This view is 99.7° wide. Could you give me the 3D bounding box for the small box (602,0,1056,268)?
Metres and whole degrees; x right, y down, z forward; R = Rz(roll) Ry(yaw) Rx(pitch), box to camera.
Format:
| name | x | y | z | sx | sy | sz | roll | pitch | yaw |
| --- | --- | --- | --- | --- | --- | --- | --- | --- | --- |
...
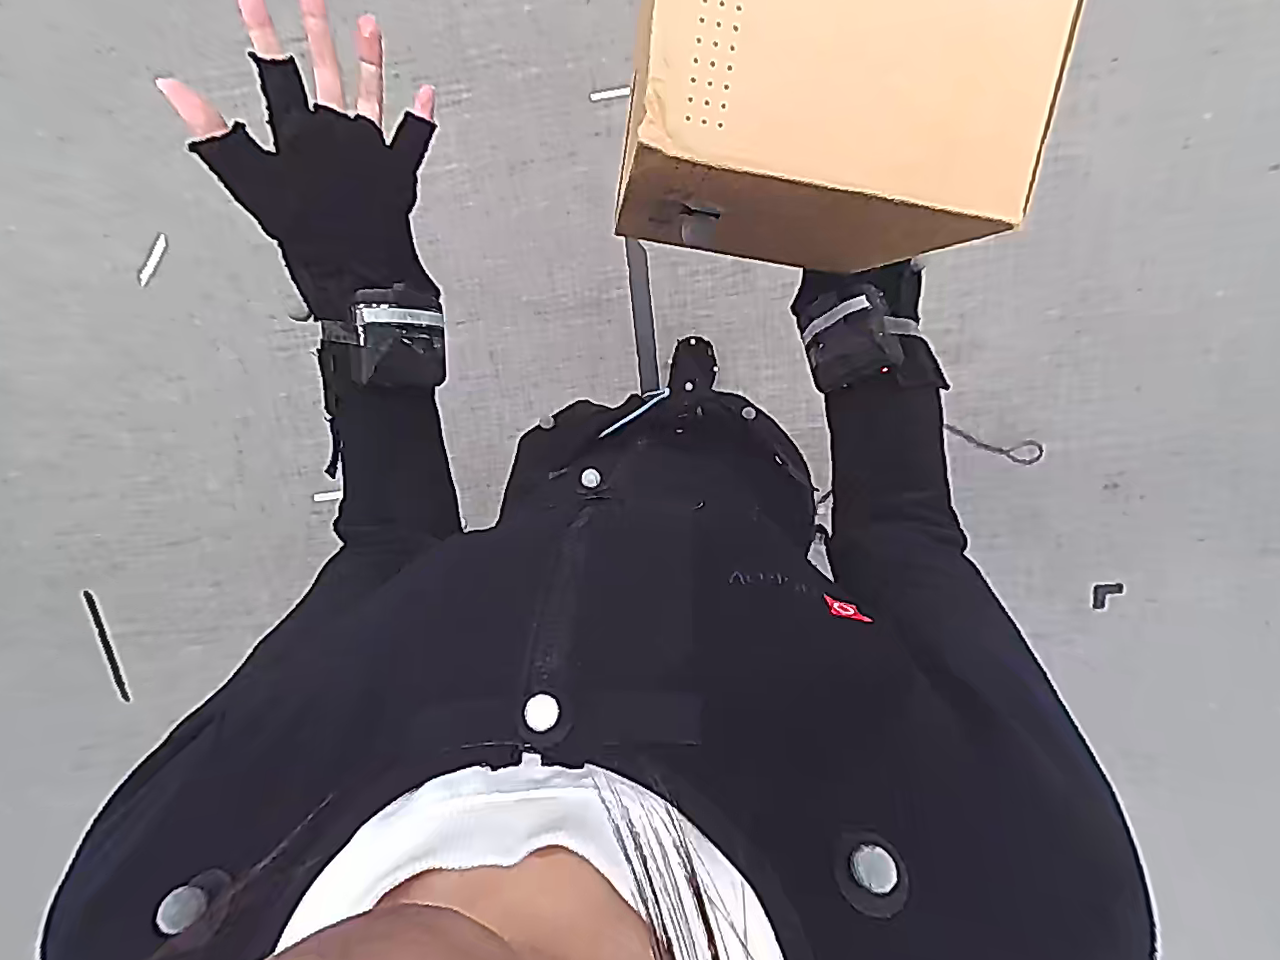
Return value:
| name | x | y | z | sx | sy | sz | roll | pitch | yaw |
| --- | --- | --- | --- | --- | --- | --- | --- | --- | --- |
| small box | 0.076 | -0.225 | 0.281 | 0.176 | 0.168 | 0.179 | 7 | 103 | -6 |
